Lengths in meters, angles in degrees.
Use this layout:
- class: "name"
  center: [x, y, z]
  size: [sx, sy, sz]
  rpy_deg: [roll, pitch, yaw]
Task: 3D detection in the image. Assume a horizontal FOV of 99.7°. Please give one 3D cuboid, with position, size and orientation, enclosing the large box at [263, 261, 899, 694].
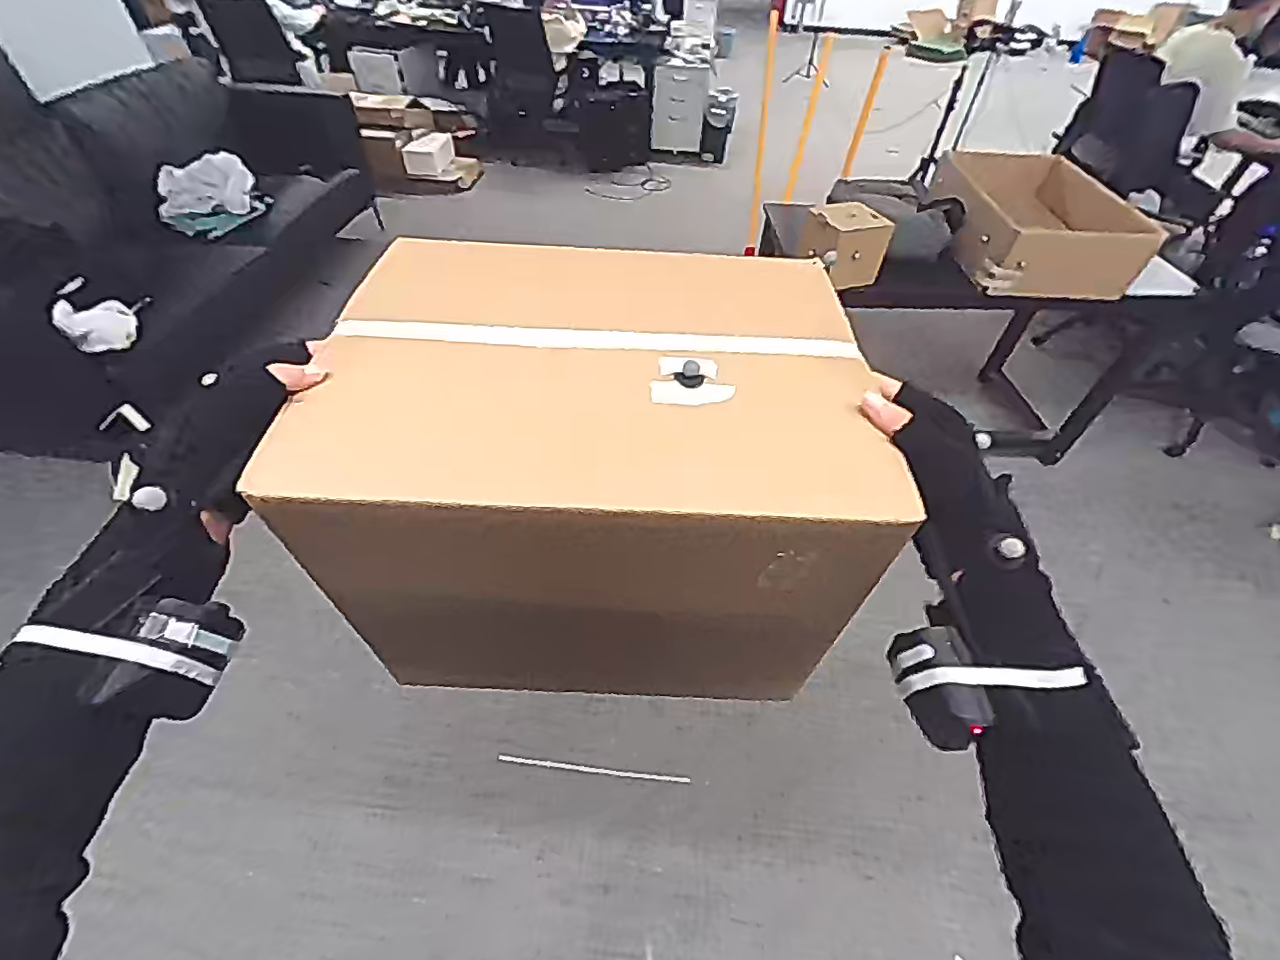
- class: "large box"
  center: [-0.040, 0.006, 0.541]
  size: [0.408, 0.320, 0.320]
  rpy_deg: [2, 49, -2]
